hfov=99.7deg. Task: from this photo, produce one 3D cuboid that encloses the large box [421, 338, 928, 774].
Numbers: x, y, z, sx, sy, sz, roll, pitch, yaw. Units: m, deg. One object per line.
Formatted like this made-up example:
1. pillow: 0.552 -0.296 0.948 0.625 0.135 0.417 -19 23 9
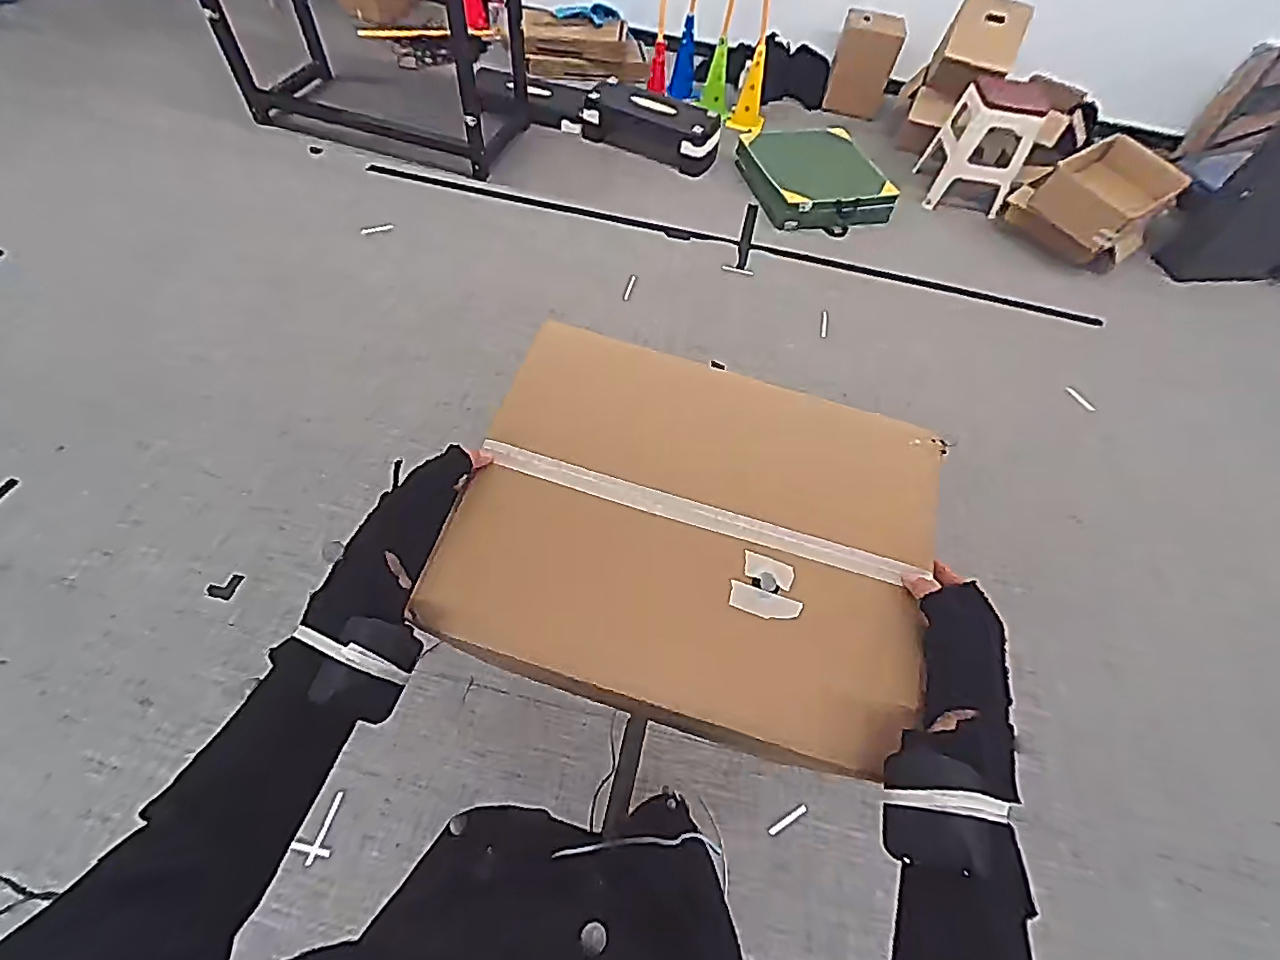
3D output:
1. large box: 0.041 0.099 0.615 0.408 0.320 0.320 17 67 3
